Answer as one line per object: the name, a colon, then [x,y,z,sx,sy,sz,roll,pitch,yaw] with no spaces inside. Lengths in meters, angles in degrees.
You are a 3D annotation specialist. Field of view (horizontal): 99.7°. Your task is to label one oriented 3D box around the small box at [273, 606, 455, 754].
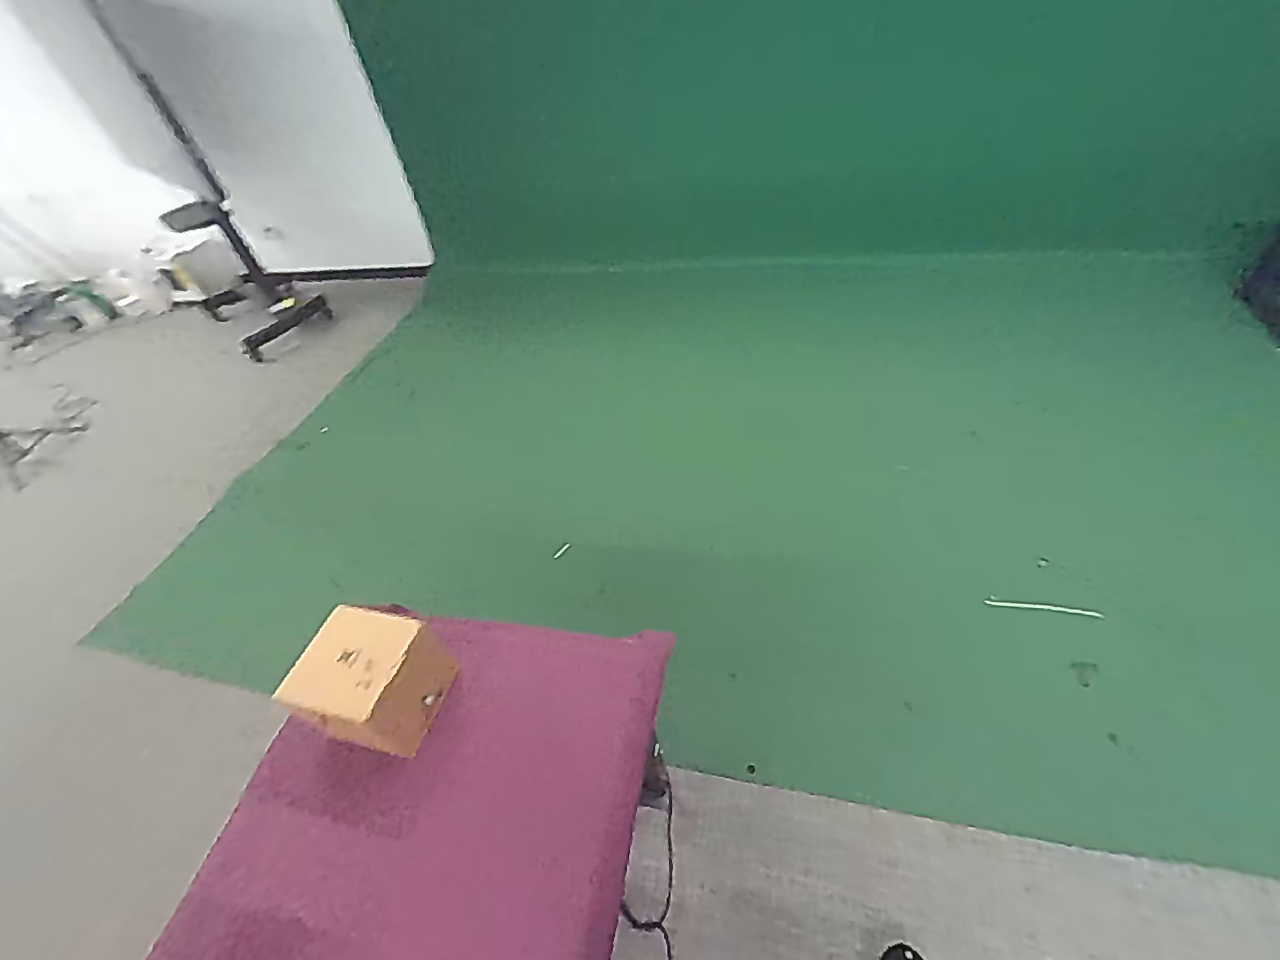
small box: [-0.447,0.337,0.907,0.179,0.176,0.168,7,49,16]
